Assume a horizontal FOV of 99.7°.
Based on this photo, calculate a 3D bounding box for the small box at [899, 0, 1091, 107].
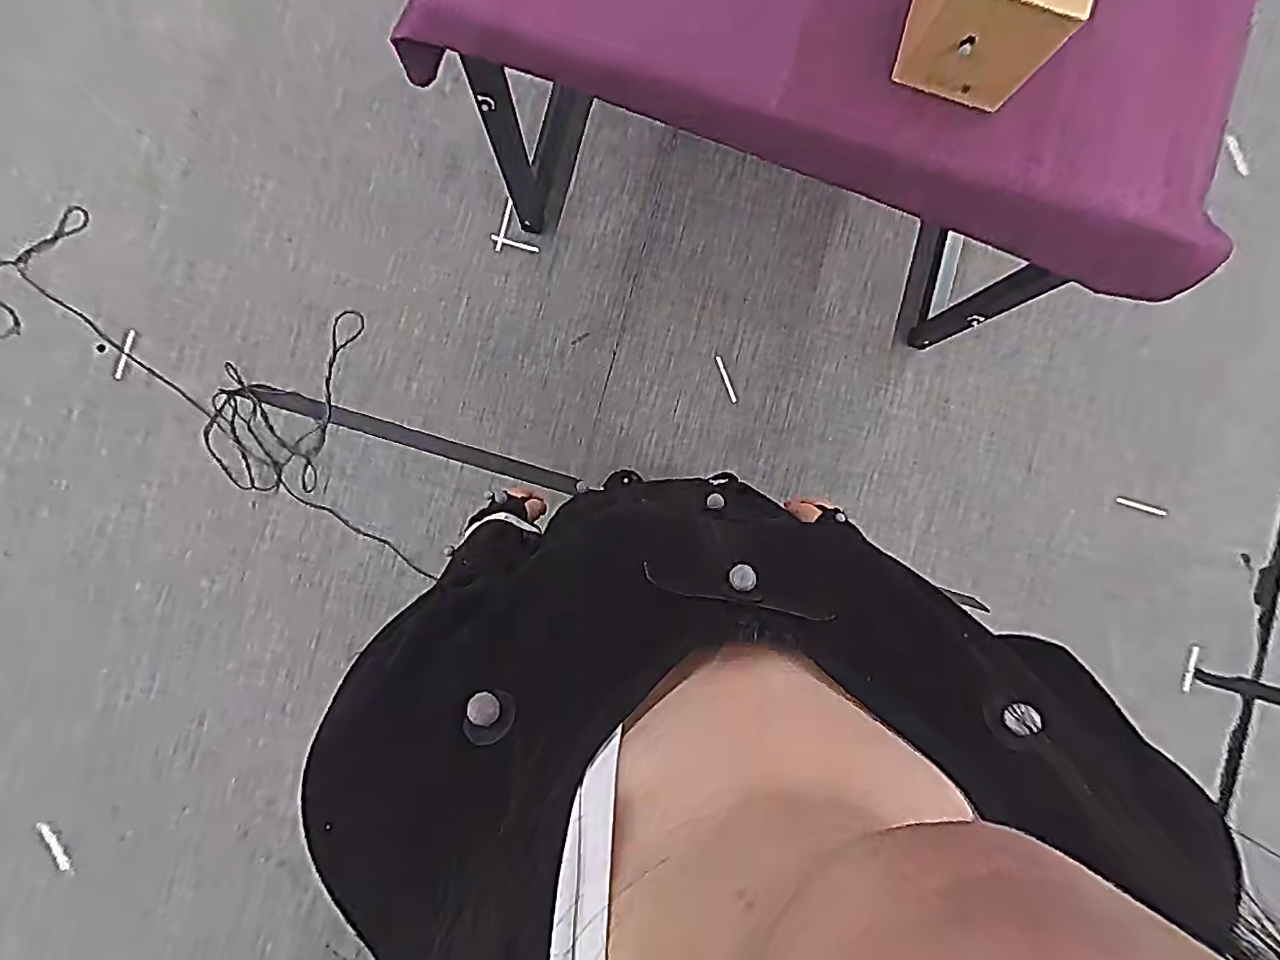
[{"bbox_3d":[0.480,-0.657,0.731,0.168,0.176,0.179,16,88,-2],"label":"small box"}]
